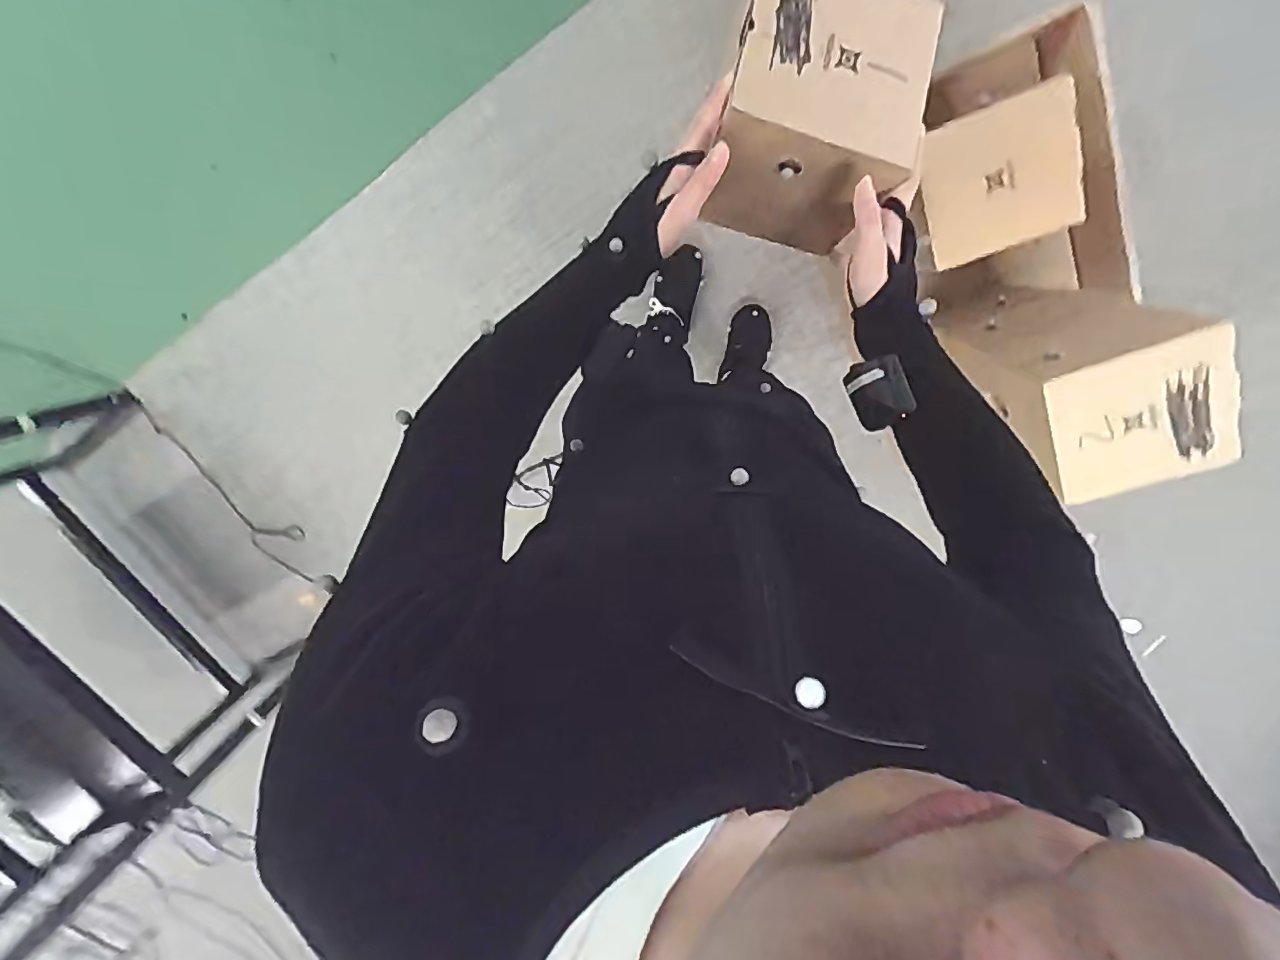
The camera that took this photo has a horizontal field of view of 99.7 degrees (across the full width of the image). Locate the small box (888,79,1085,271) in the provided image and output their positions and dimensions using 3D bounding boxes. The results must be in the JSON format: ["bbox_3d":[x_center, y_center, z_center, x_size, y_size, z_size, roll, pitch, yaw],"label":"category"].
[{"bbox_3d":[0.457,-0.398,0.740,0.179,0.176,0.168,-16,109,15],"label":"small box"}]

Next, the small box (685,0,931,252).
[{"bbox_3d":[0.156,-0.363,0.555,0.179,0.176,0.168,13,85,-7],"label":"small box"}]

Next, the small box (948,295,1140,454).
[{"bbox_3d":[0.592,-0.164,0.816,0.179,0.176,0.168,-19,110,16],"label":"small box"}]
